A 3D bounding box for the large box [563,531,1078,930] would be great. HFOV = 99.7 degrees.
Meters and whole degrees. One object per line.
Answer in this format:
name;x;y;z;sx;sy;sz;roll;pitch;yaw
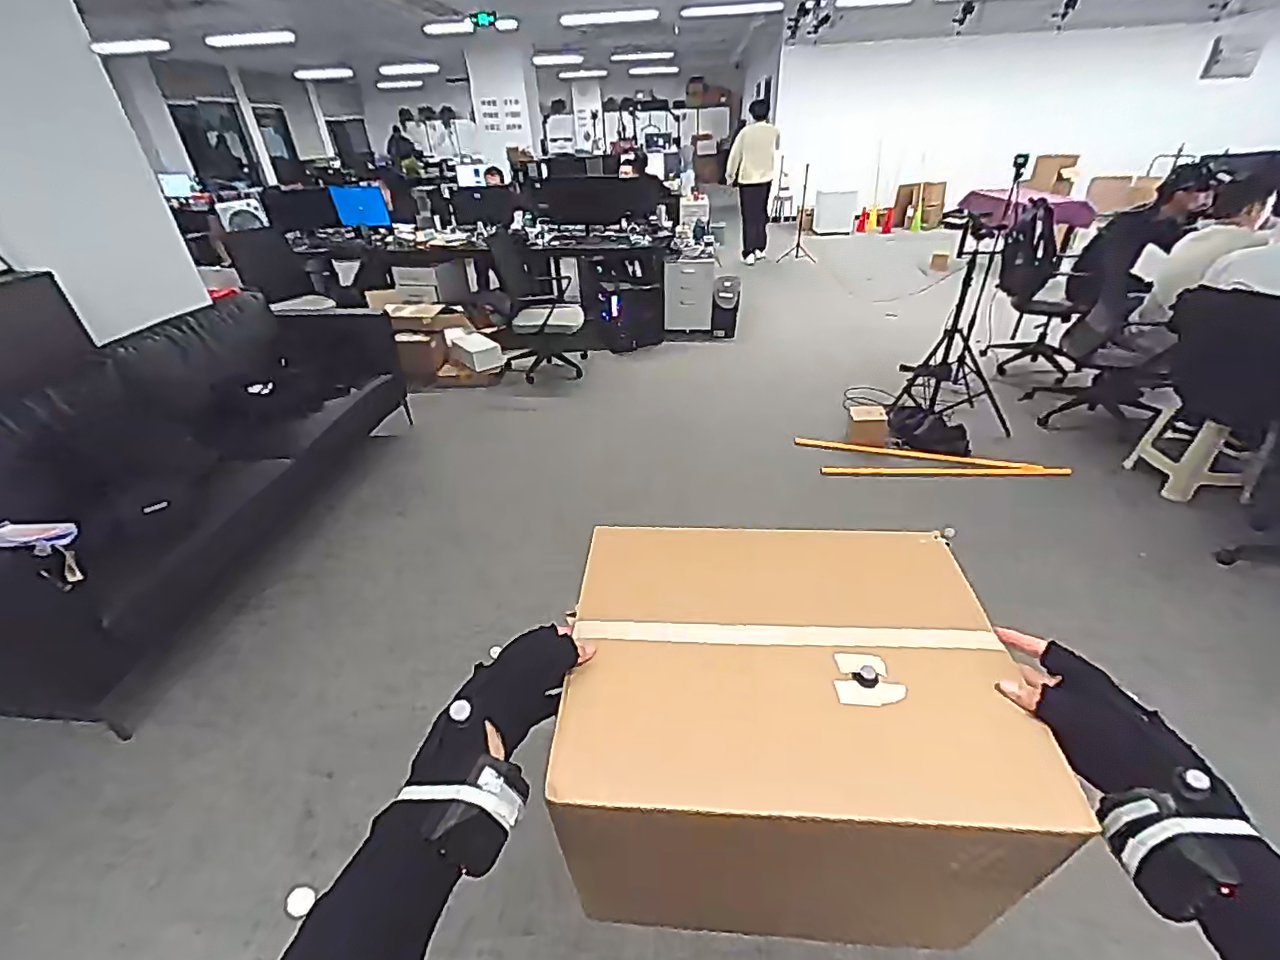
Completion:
large box;0.145;0.275;0.622;0.408;0.320;0.320;1;38;4
